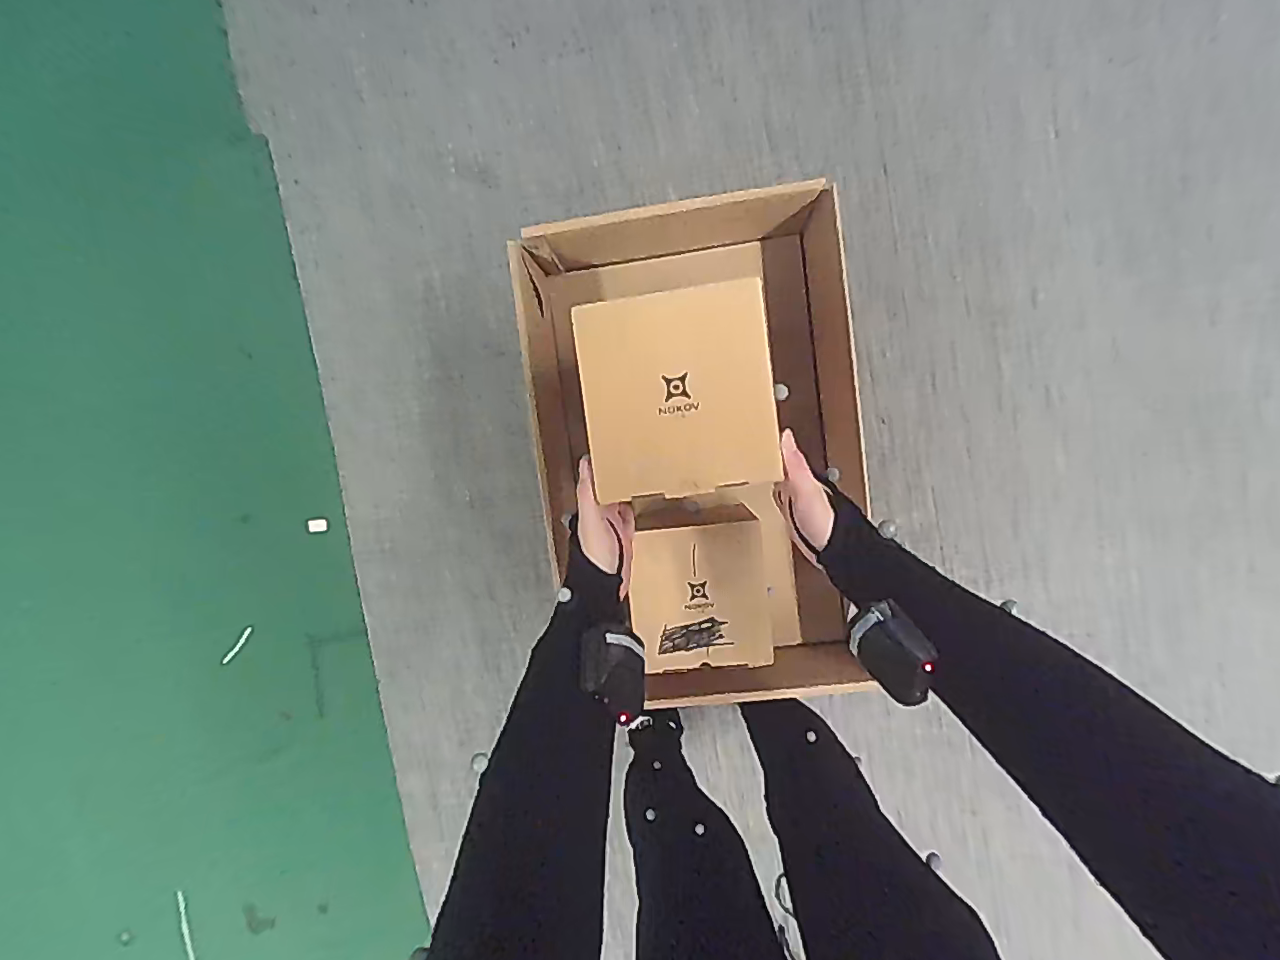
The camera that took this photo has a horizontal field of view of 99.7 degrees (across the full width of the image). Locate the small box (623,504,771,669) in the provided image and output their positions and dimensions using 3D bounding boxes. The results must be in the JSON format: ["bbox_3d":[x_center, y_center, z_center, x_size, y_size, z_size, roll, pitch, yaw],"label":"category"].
[{"bbox_3d":[0.075,0.132,0.722,0.168,0.176,0.179,-6,92,5],"label":"small box"}]

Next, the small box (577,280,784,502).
[{"bbox_3d":[0.041,-0.078,0.546,0.168,0.176,0.179,-7,93,7],"label":"small box"}]
